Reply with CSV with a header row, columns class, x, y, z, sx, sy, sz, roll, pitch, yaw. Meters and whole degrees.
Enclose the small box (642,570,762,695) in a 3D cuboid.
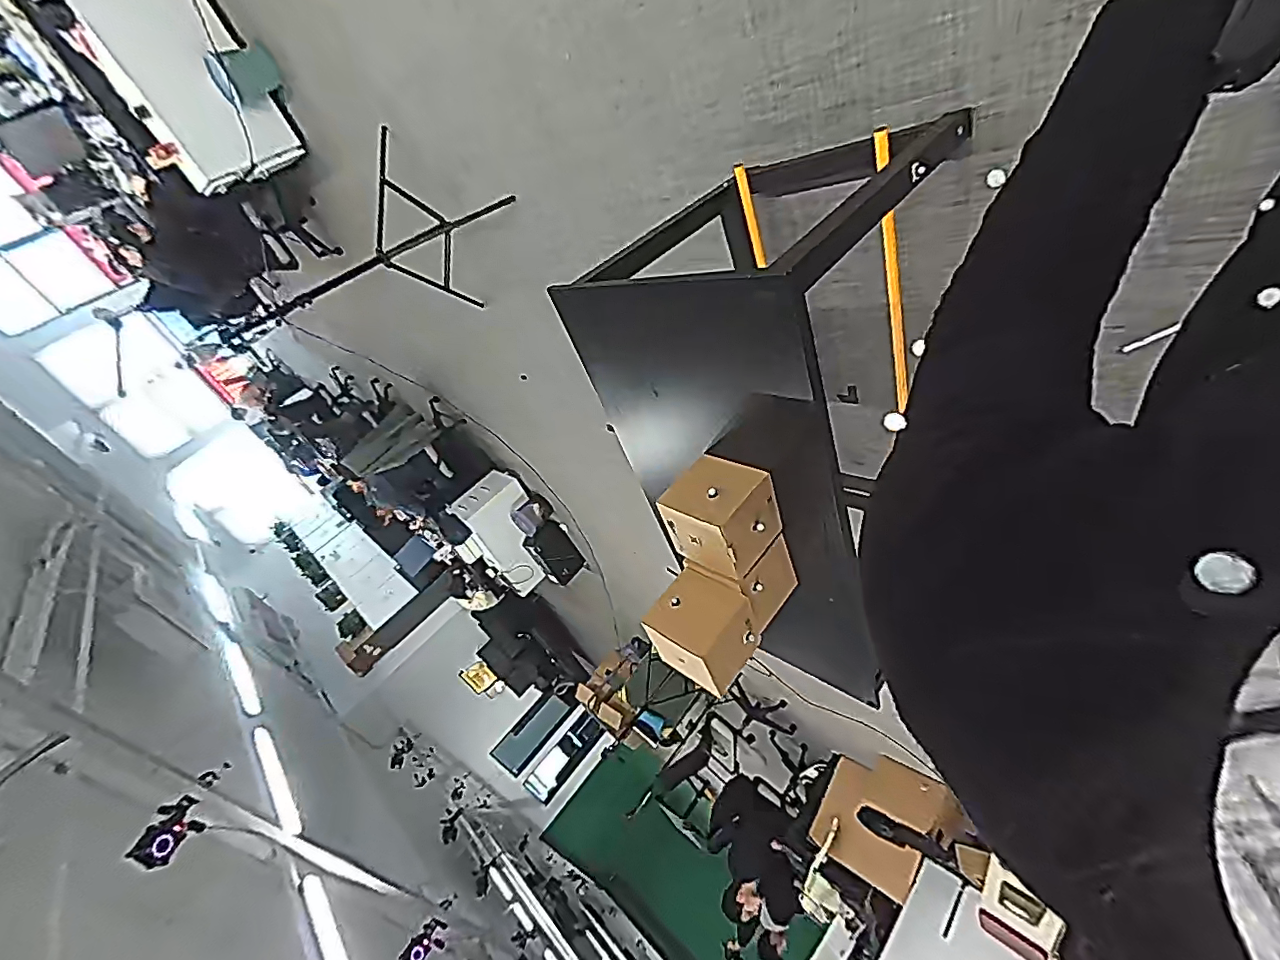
class,x,y,z,sx,sy,sz,roll,pitch,yaw
small box,0.139,0.324,1.183,0.179,0.176,0.168,19,146,42
